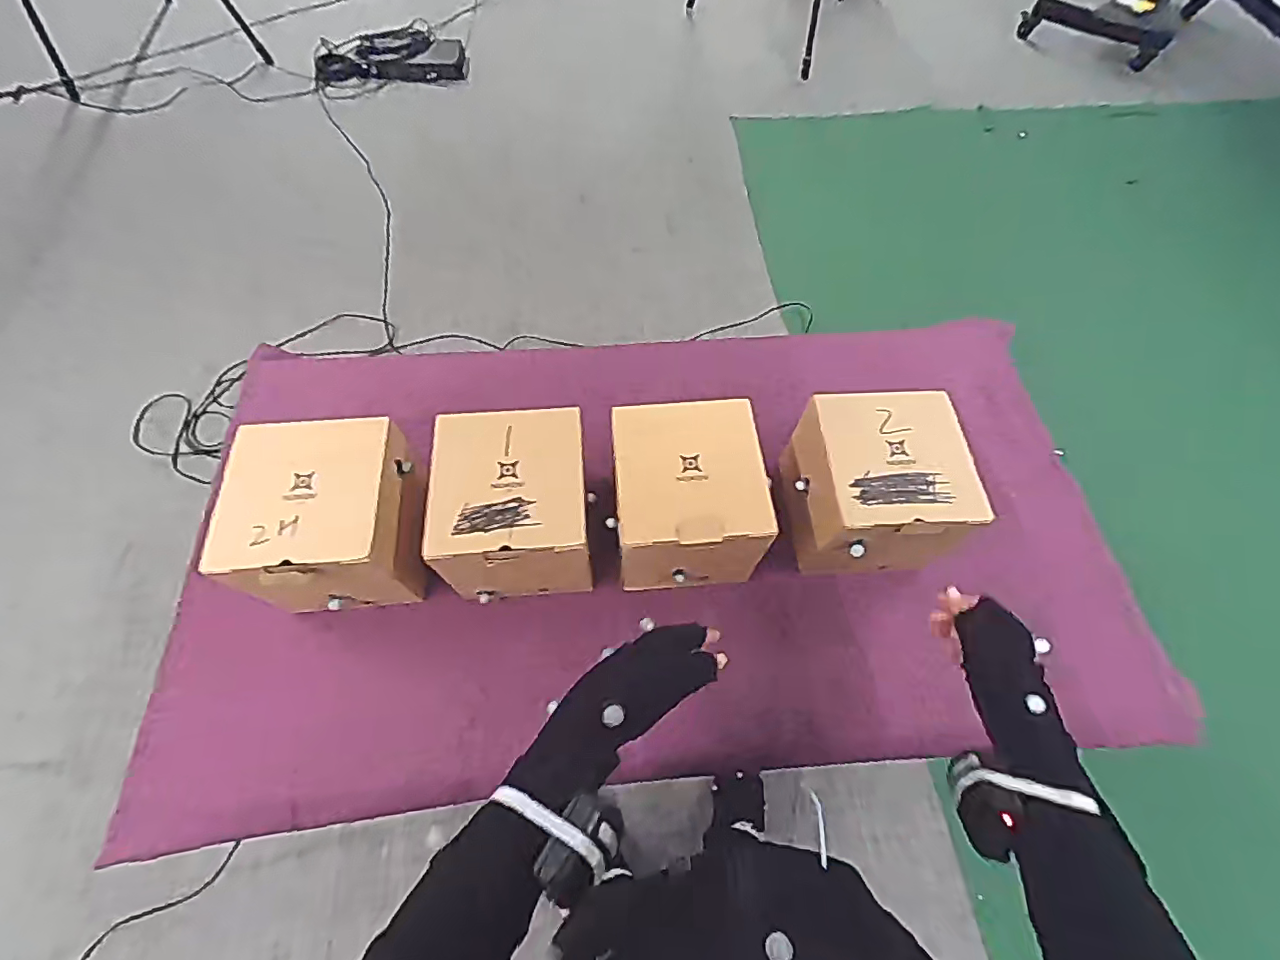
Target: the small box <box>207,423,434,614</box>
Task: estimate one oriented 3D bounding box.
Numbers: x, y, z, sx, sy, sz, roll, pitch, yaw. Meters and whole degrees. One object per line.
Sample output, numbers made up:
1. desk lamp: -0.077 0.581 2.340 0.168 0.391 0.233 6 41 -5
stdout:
1. small box: -0.360 0.051 0.652 0.168 0.176 0.179 -4 63 -3
